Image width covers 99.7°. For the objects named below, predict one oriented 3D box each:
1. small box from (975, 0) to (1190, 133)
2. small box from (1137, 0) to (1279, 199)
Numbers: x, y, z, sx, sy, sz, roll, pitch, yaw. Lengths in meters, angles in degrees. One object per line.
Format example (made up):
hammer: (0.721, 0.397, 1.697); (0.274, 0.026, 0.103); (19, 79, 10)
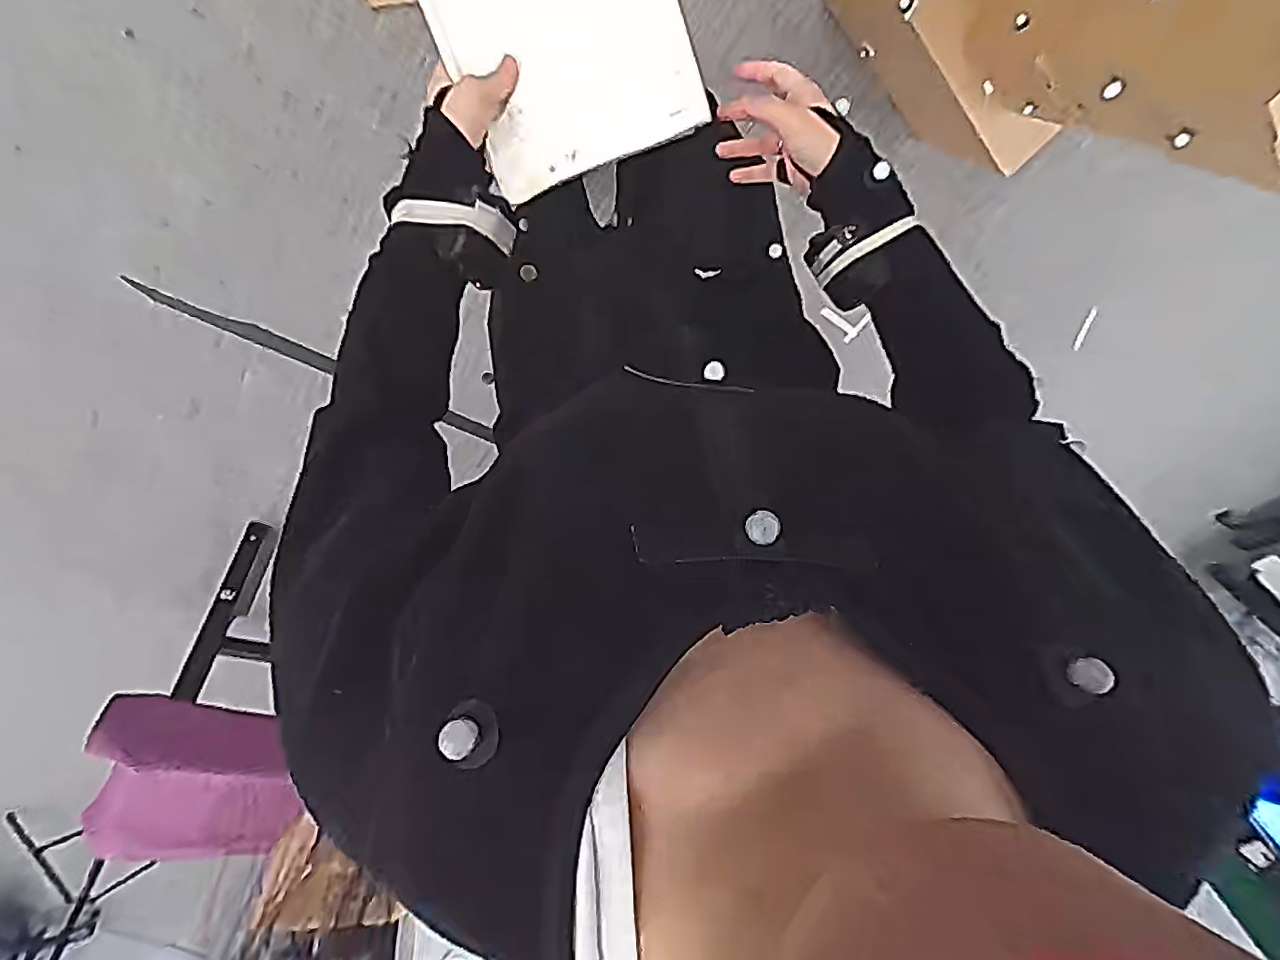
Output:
small box: (0.659, -0.684, 0.831); (0.168, 0.176, 0.179); (20, 125, -30)
small box: (0.727, -0.458, 0.601); (0.168, 0.176, 0.179); (23, 124, -31)
